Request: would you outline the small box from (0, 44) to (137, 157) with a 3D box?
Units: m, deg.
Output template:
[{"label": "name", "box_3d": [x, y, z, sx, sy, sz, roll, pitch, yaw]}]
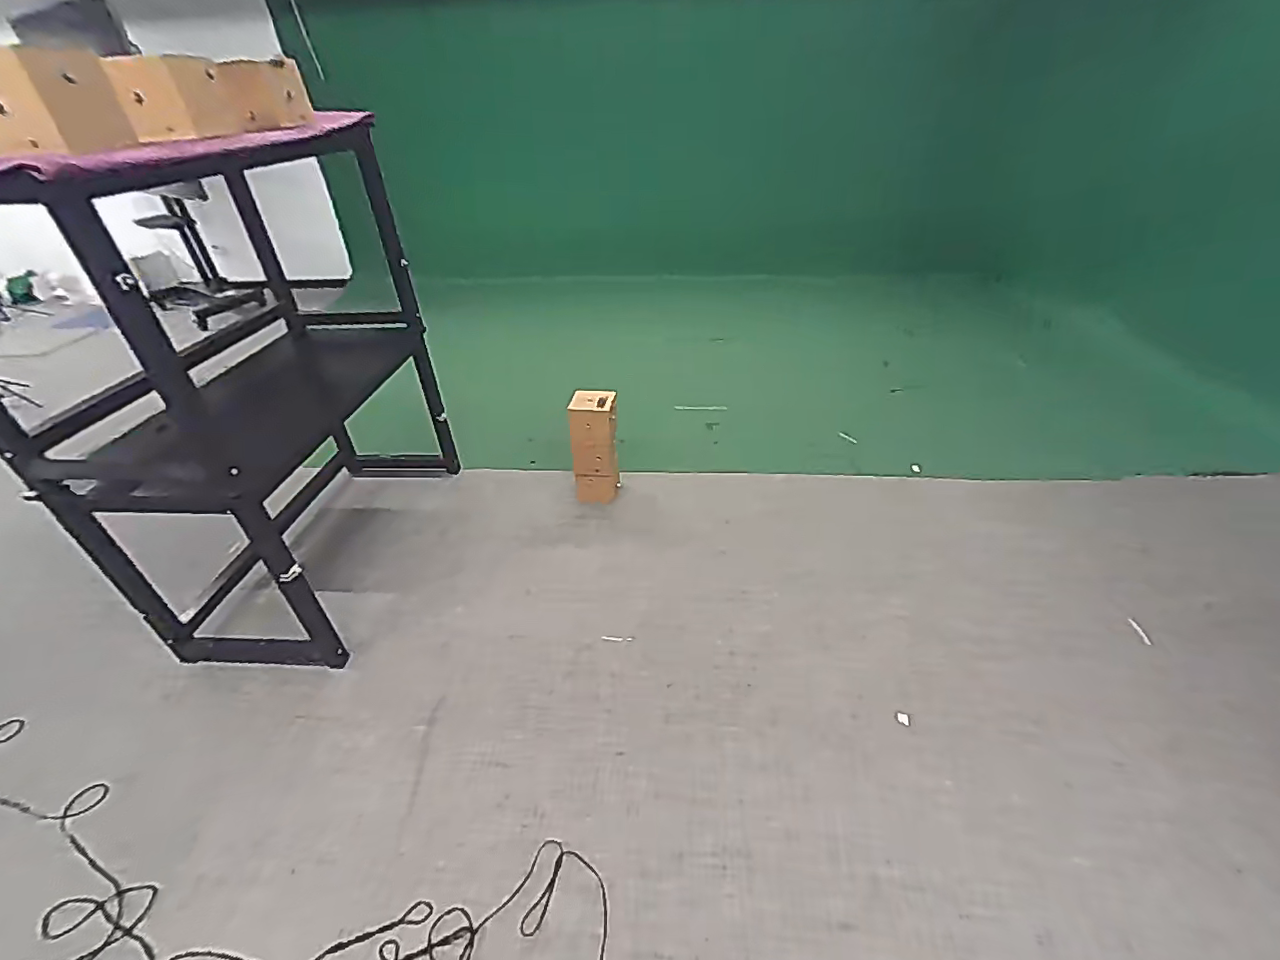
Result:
[{"label": "small box", "box_3d": [-1.155, -0.731, 1.050, 0.168, 0.176, 0.179, 1, 35, 3]}]

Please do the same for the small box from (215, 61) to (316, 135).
[{"label": "small box", "box_3d": [-1.131, -1.156, 1.637, 0.179, 0.176, 0.168, 4, 38, 11]}]

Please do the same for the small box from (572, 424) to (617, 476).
[{"label": "small box", "box_3d": [-0.194, -0.131, 2.382, 0.168, 0.176, 0.179, 3, 36, 5]}]

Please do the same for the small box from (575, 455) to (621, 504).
[{"label": "small box", "box_3d": [-0.188, -0.005, 2.483, 0.179, 0.176, 0.168, 4, 37, 7]}]

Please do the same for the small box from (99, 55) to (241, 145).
[{"label": "small box", "box_3d": [-1.152, -0.941, 1.347, 0.168, 0.176, 0.179, -1, 35, 5]}]
